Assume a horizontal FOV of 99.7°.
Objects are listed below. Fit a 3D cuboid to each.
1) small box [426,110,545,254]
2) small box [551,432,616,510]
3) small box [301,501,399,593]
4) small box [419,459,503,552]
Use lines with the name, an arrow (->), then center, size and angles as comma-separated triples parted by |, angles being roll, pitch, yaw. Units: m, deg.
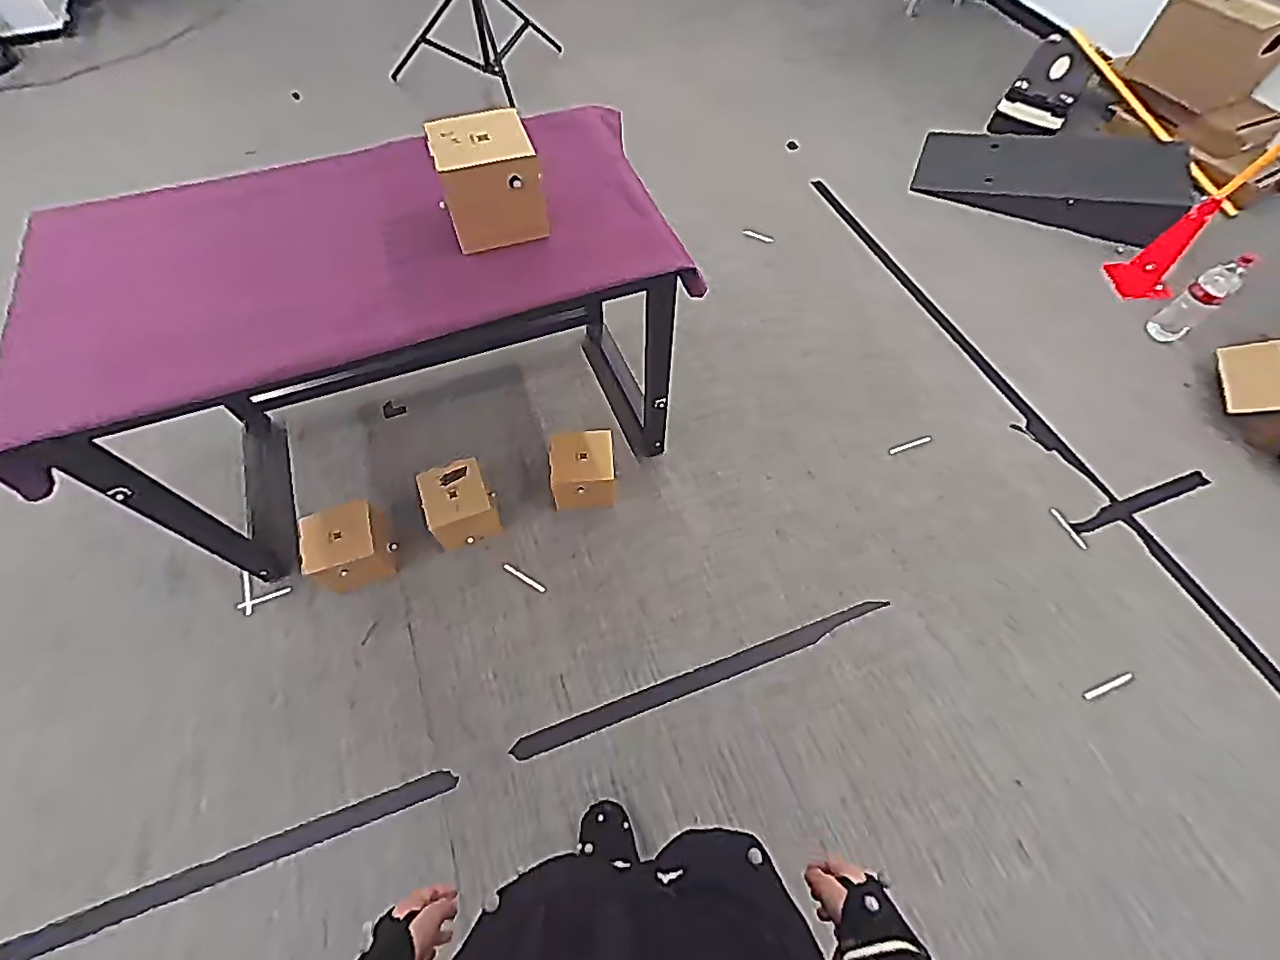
small box -> -0.289, -0.568, 1.041 | 0.179, 0.176, 0.168 | -17, 62, -9
small box -> -0.160, -0.024, 1.576 | 0.179, 0.176, 0.168 | -4, 62, -2
small box -> -0.776, 0.185, 1.454 | 0.179, 0.176, 0.168 | -17, 64, -11
small box -> -0.498, 0.075, 1.516 | 0.168, 0.176, 0.179 | -20, 64, -11
